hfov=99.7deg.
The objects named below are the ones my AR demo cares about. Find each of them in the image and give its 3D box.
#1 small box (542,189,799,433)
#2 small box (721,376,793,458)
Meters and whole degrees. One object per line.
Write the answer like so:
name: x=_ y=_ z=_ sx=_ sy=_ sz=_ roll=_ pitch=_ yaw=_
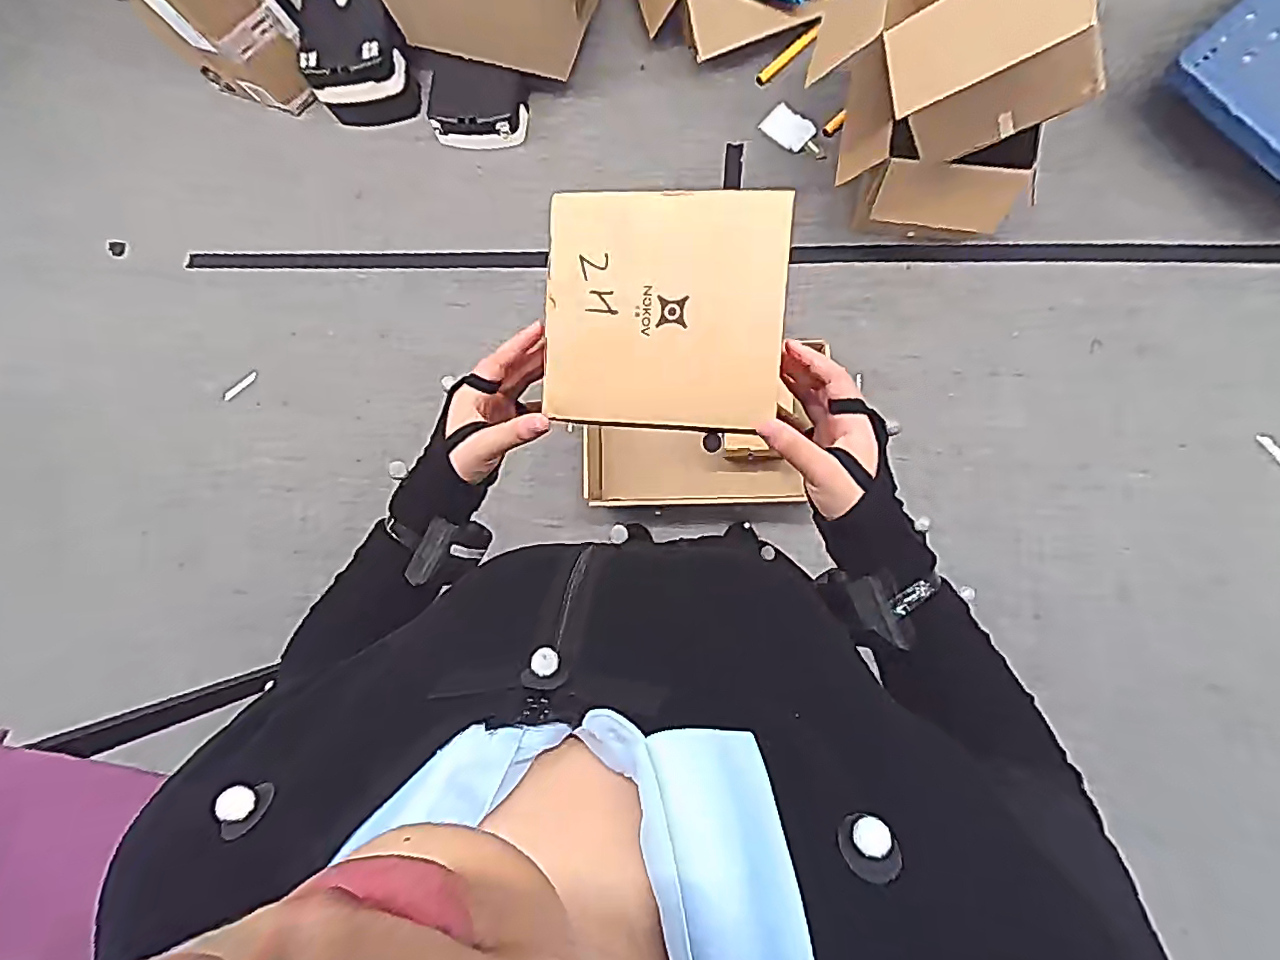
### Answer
small box: x=0.030 y=-0.128 z=0.465 sx=0.179 sy=0.176 sz=0.168 roll=5 pitch=95 yaw=9
small box: x=0.292 y=-0.155 z=1.380 sx=0.168 sy=0.176 sz=0.179 roll=-1 pitch=85 yaw=7
